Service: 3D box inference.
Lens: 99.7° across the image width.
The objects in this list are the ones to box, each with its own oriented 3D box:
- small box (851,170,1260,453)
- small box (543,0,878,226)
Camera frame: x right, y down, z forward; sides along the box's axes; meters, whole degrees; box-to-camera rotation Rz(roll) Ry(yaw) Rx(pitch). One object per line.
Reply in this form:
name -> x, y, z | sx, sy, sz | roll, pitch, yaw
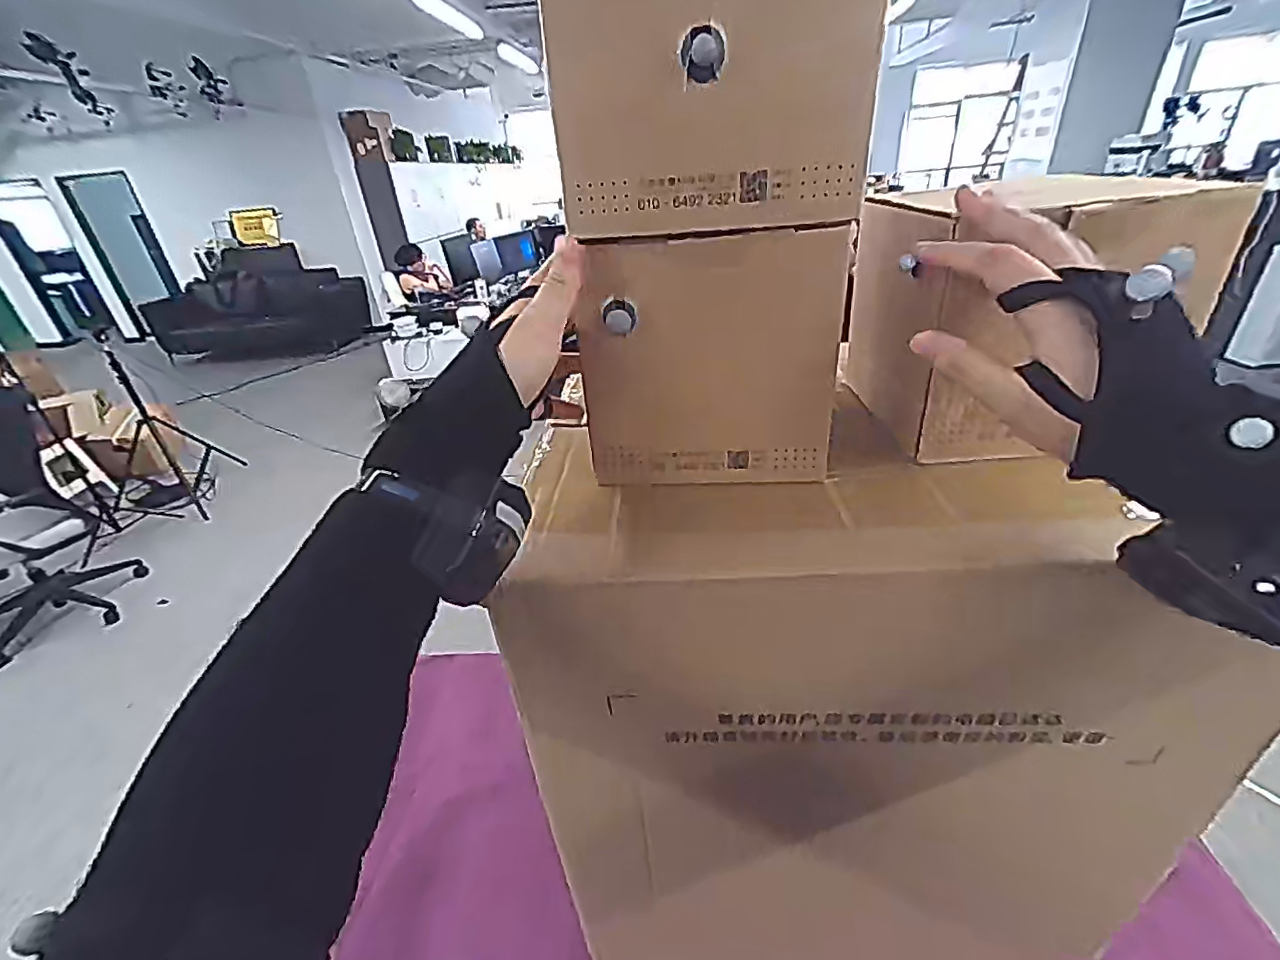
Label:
small box -> 0.275, -0.135, 0.419 | 0.168, 0.176, 0.179 | -4, 30, 4
small box -> 0.038, -0.255, 0.334 | 0.168, 0.176, 0.179 | -2, 29, 2
